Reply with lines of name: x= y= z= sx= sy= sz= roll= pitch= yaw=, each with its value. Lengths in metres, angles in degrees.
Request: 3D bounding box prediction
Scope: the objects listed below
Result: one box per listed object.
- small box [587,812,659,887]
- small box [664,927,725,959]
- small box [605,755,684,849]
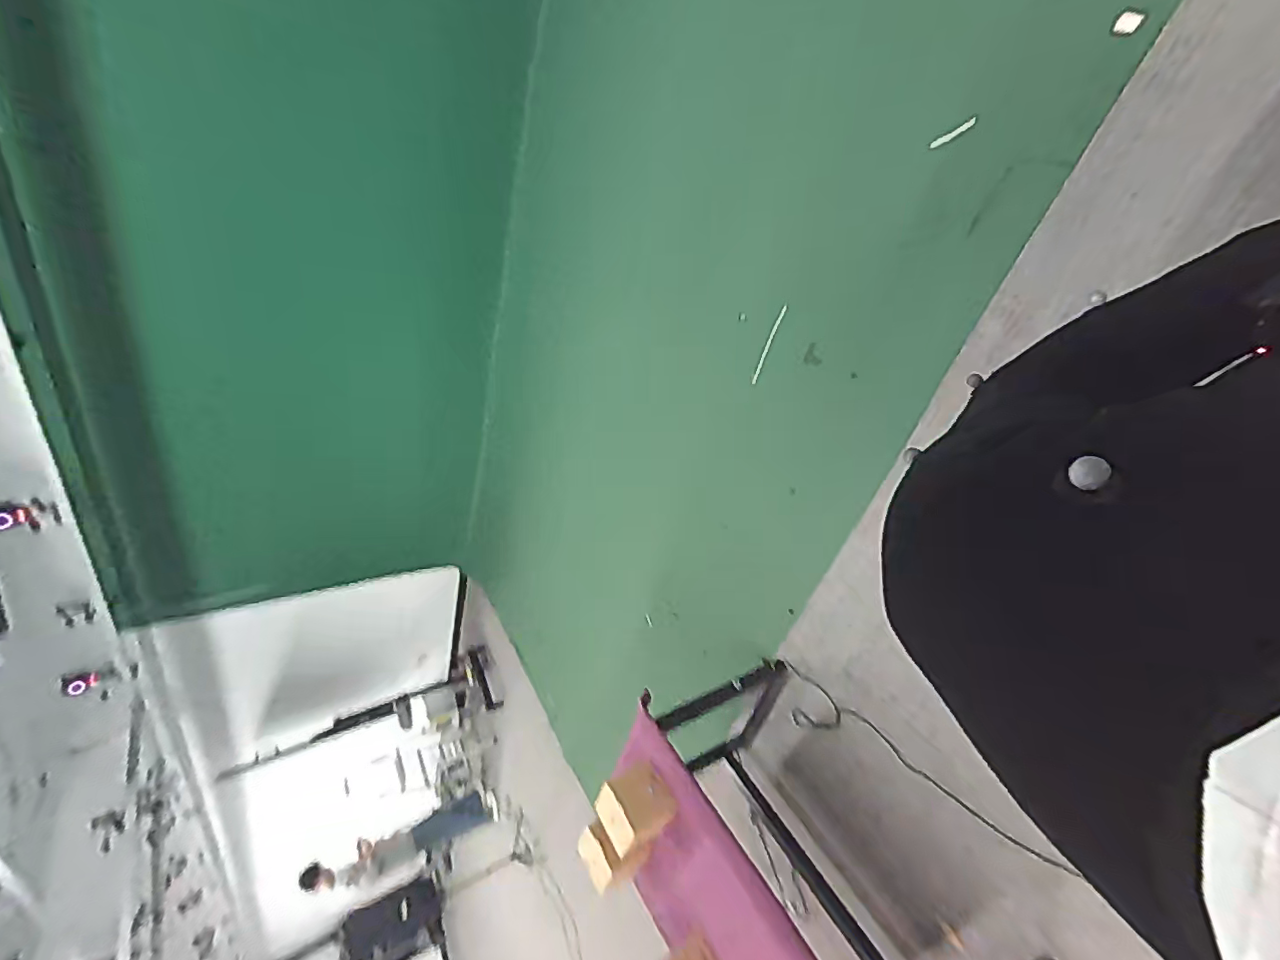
small box: x=-0.056 y=1.242 z=1.863 sx=0.168 sy=0.176 sz=0.179 roll=48 pitch=132 yaw=39
small box: x=0.162 y=1.487 z=1.607 sx=0.168 sy=0.176 sz=0.179 roll=47 pitch=132 yaw=40
small box: x=0.014 y=1.015 z=1.713 sx=0.168 sy=0.176 sz=0.179 roll=49 pitch=134 yaw=36
